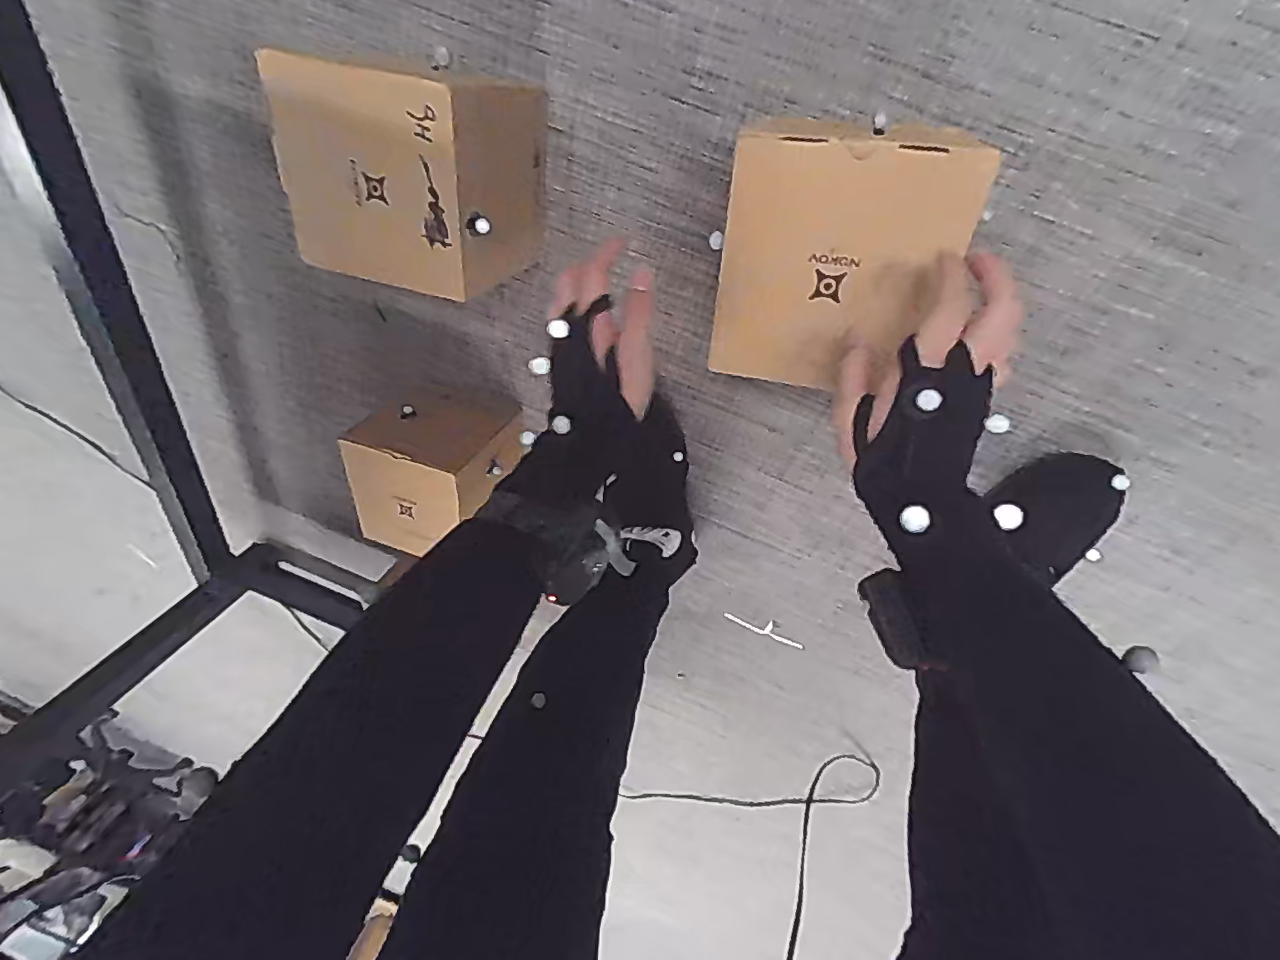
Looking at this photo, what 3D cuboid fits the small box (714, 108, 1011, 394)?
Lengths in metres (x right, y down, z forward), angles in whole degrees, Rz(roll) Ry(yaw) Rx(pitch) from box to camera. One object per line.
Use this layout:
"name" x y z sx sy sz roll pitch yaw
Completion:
"small box" 0.169 -0.199 0.454 0.168 0.176 0.179 13 127 12

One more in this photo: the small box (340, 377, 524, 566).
"small box" -0.271 -0.019 0.746 0.168 0.176 0.179 18 129 9

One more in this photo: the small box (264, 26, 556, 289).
"small box" -0.198 -0.304 0.514 0.179 0.176 0.168 17 128 9
